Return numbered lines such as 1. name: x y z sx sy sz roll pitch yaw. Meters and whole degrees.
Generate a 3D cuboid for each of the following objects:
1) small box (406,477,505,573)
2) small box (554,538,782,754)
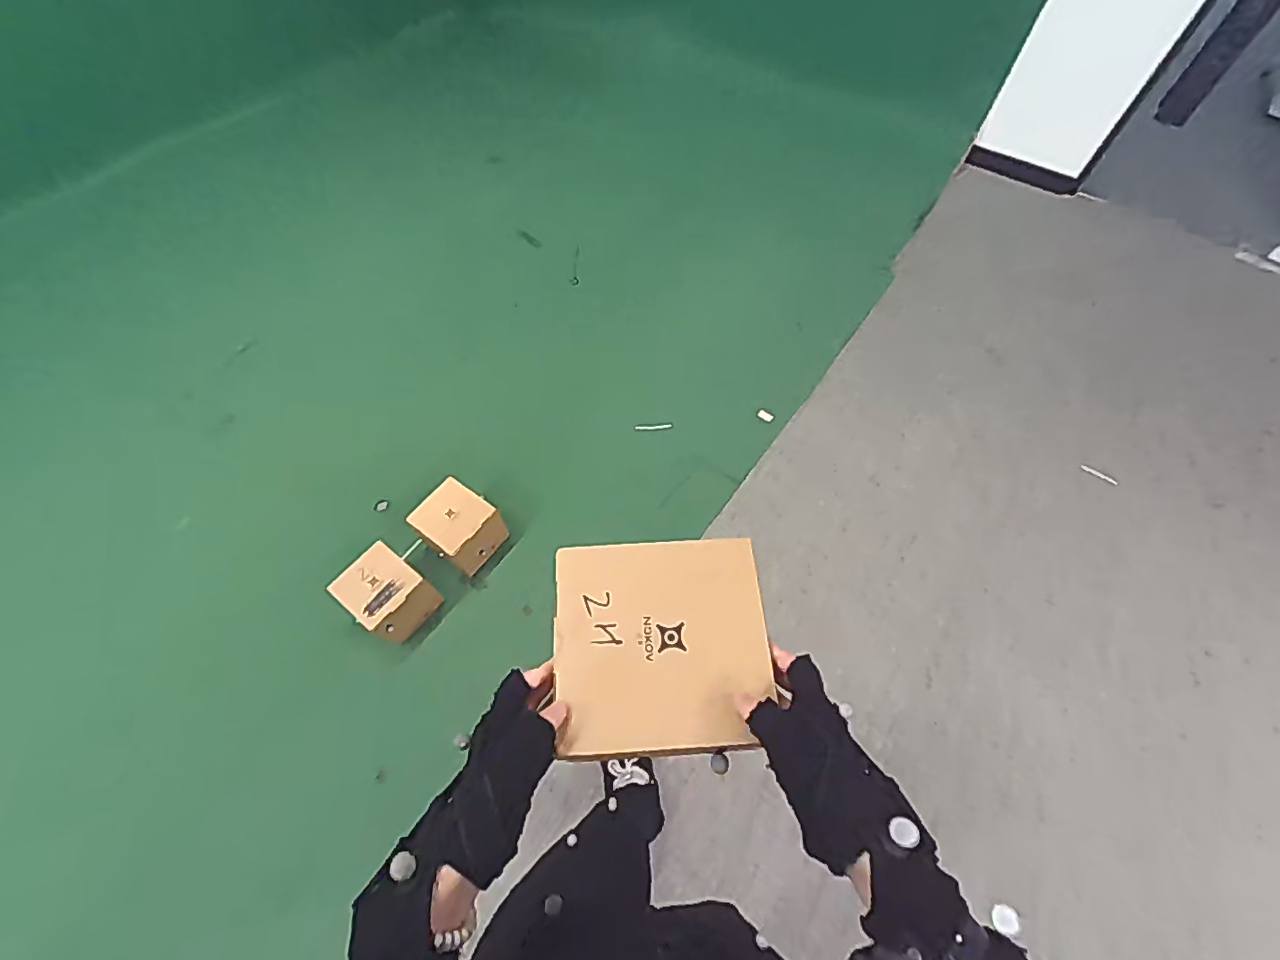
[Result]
1. small box: -0.499 0.131 1.488 0.179 0.176 0.168 33 64 15
2. small box: 0.017 0.163 0.512 0.179 0.176 0.168 -2 61 -2
